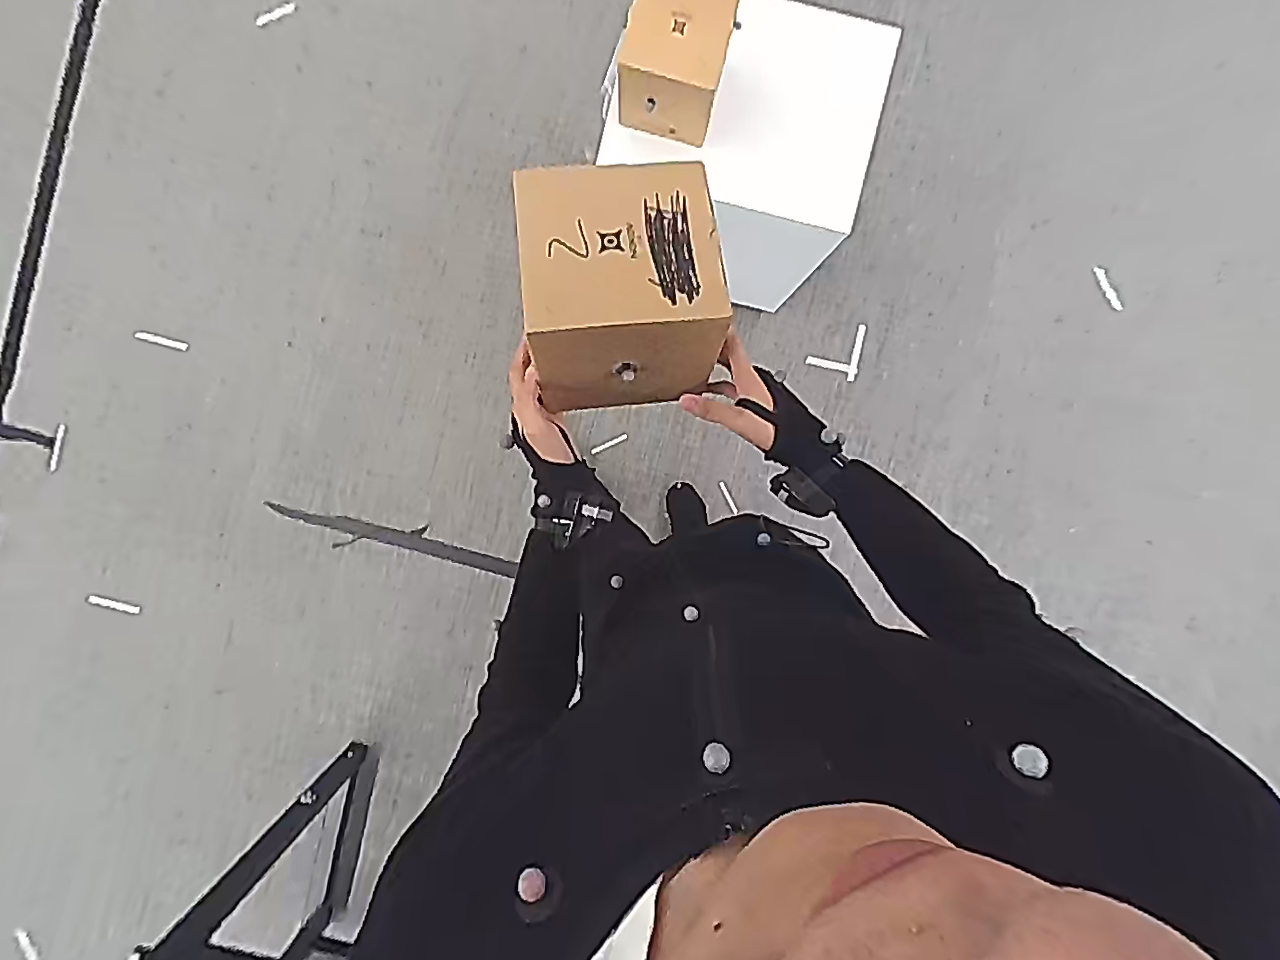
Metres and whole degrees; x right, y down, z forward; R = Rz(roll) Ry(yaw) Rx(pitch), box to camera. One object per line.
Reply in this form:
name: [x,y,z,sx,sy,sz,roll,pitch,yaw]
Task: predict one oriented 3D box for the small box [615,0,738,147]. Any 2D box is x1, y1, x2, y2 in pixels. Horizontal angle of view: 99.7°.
small box: [0.059,-0.726,0.944,0.168,0.176,0.179,14,91,-2]
